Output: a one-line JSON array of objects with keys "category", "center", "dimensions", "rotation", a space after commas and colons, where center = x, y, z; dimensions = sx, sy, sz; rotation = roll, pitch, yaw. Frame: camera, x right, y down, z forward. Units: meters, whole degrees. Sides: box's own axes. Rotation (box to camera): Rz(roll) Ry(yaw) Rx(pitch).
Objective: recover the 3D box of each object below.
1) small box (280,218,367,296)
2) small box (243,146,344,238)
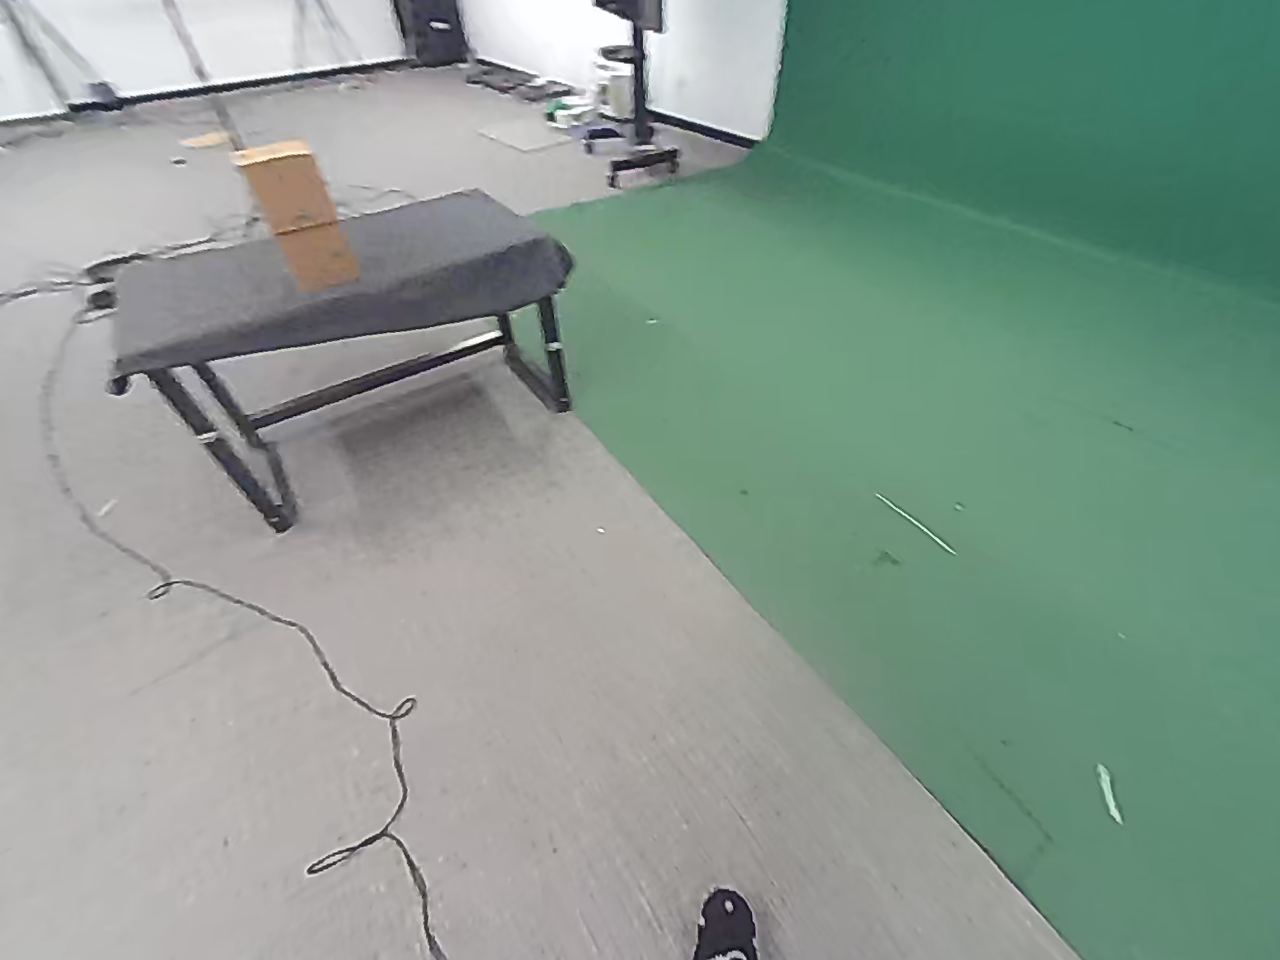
[{"category": "small box", "center": [-0.925, -0.666, 1.582], "dimensions": [0.179, 0.176, 0.168], "rotation": [-28, 49, -21]}, {"category": "small box", "center": [-0.930, -0.780, 1.464], "dimensions": [0.179, 0.176, 0.168], "rotation": [-26, 48, -22]}]
